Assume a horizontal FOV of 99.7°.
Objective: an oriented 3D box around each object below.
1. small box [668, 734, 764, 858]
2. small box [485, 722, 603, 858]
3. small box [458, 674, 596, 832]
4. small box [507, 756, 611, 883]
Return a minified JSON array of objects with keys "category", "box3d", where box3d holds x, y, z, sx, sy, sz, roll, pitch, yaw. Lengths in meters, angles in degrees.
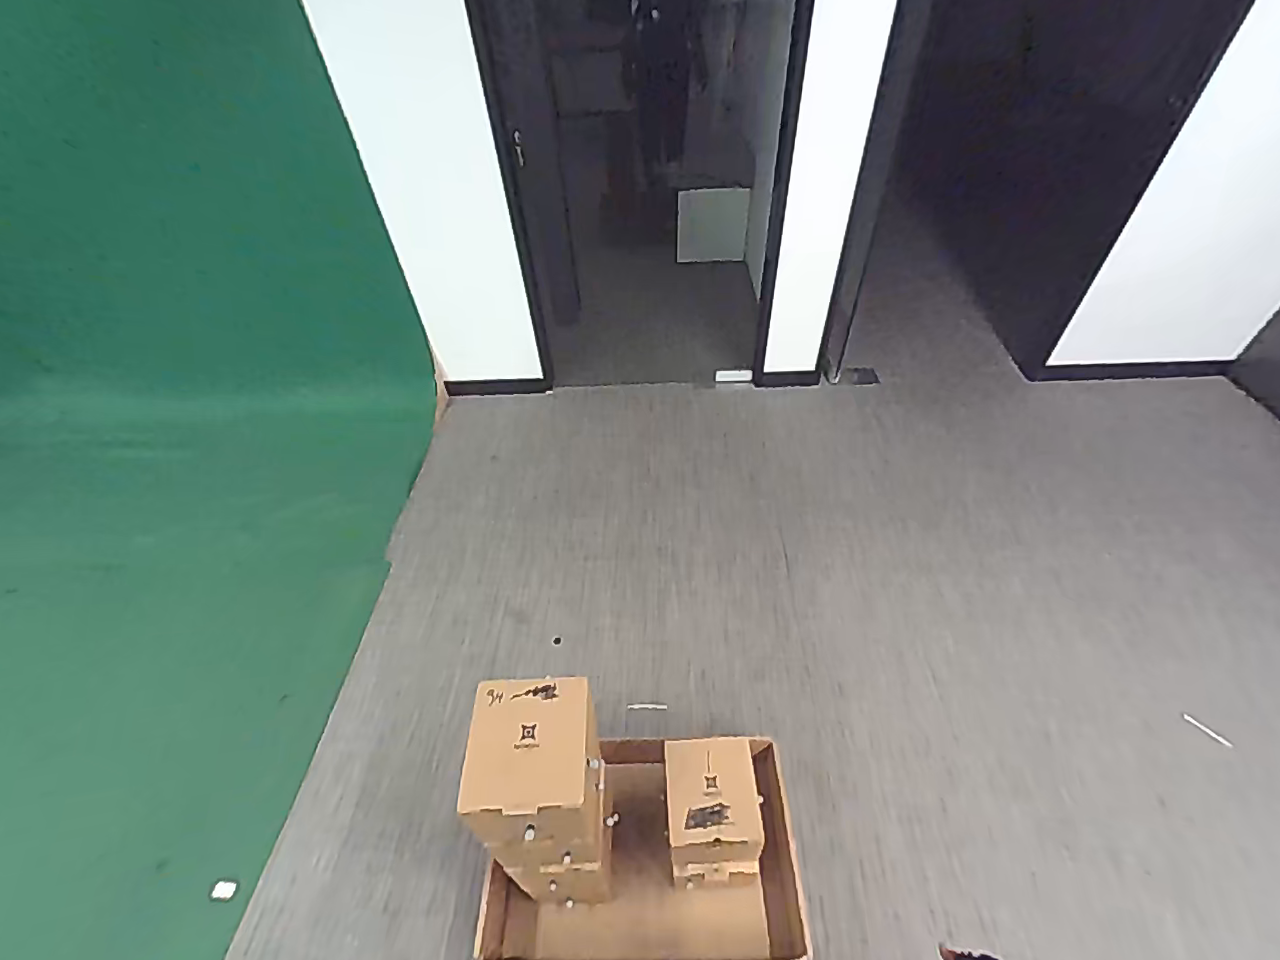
[{"category":"small box","box3d":[0.139,0.609,1.039,0.168,0.176,0.179,0,46,2]},{"category":"small box","box3d":[-0.150,0.526,0.917,0.168,0.176,0.179,-2,45,-1]},{"category":"small box","box3d":[-0.153,0.409,0.803,0.168,0.176,0.179,-1,46,-1]},{"category":"small box","box3d":[-0.143,0.645,1.030,0.168,0.176,0.179,-1,46,1]}]
